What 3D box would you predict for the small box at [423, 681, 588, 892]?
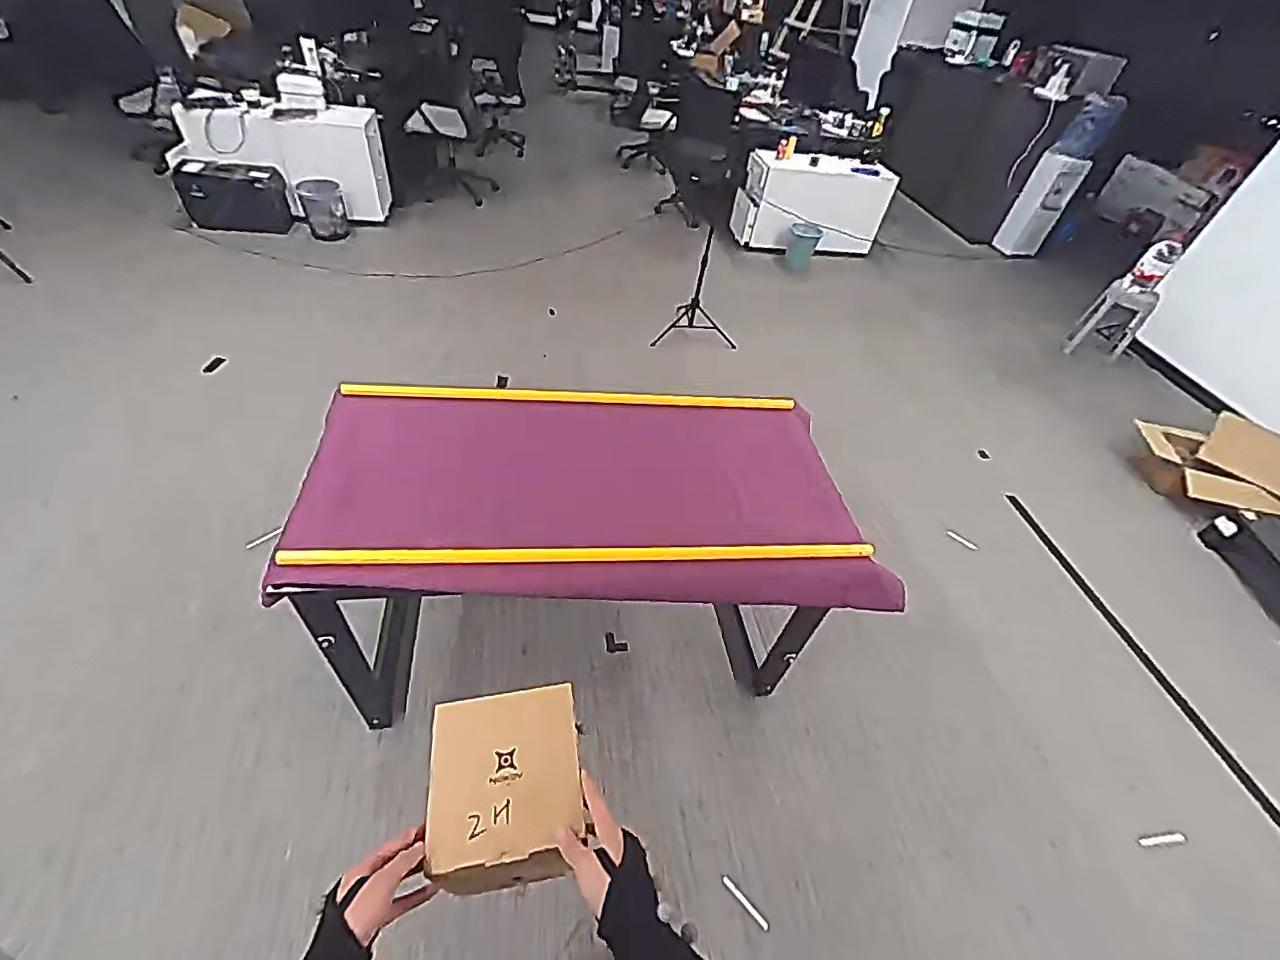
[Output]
[{"bbox_3d":[-0.156,0.378,0.670,0.168,0.176,0.179,-6,47,-8],"label":"small box"}]
